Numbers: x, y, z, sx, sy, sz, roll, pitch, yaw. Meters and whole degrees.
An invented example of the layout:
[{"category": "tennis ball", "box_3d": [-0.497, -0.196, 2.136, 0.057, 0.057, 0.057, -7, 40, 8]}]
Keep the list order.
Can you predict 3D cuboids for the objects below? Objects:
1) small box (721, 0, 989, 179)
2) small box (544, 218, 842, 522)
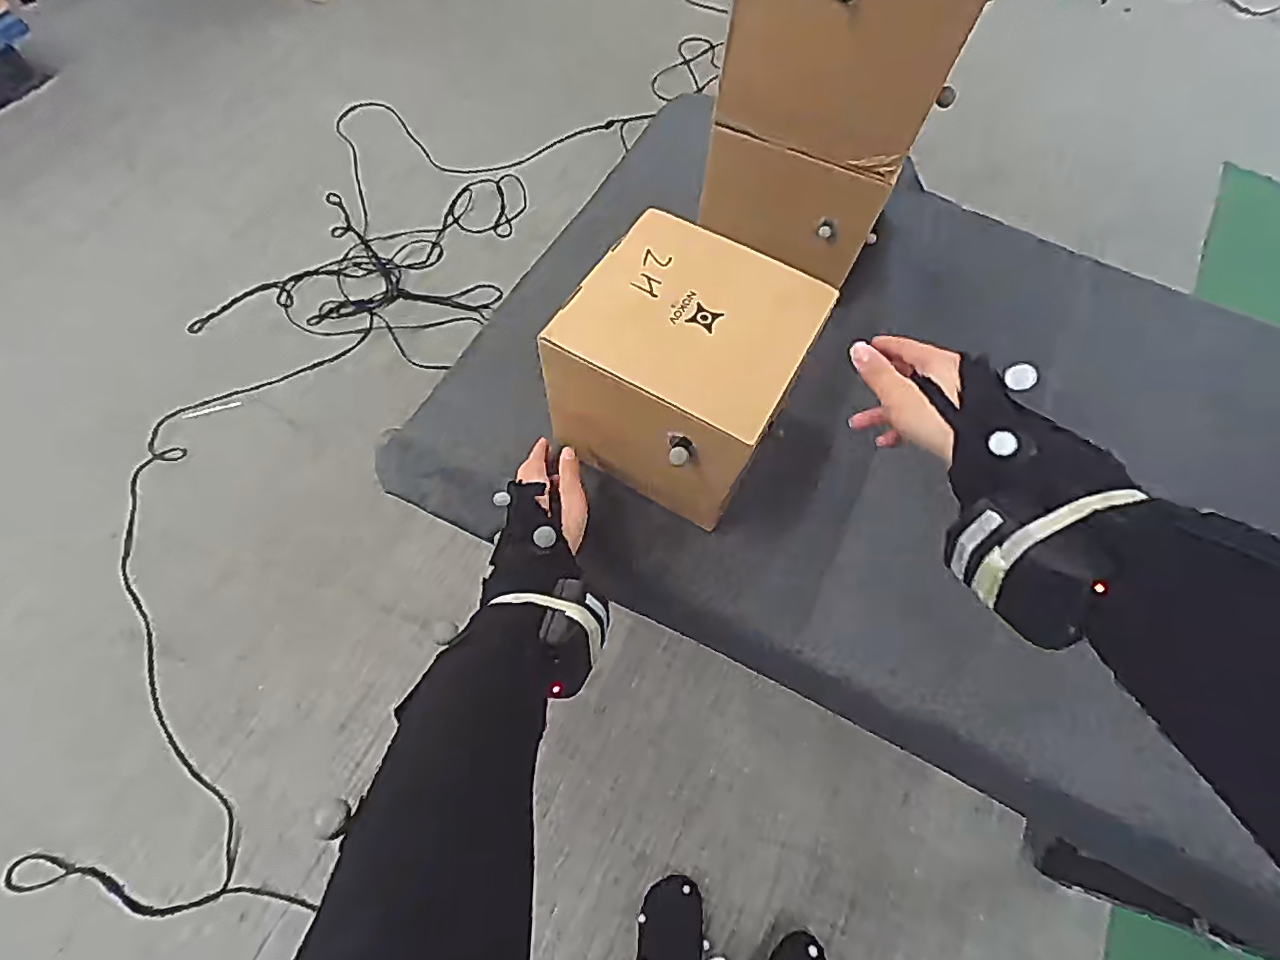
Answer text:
[{"category": "small box", "box_3d": [0.181, -0.387, 0.443, 0.179, 0.176, 0.168, 23, 70, 7]}, {"category": "small box", "box_3d": [0.040, -0.082, 0.477, 0.179, 0.176, 0.168, 28, 66, 11]}]
